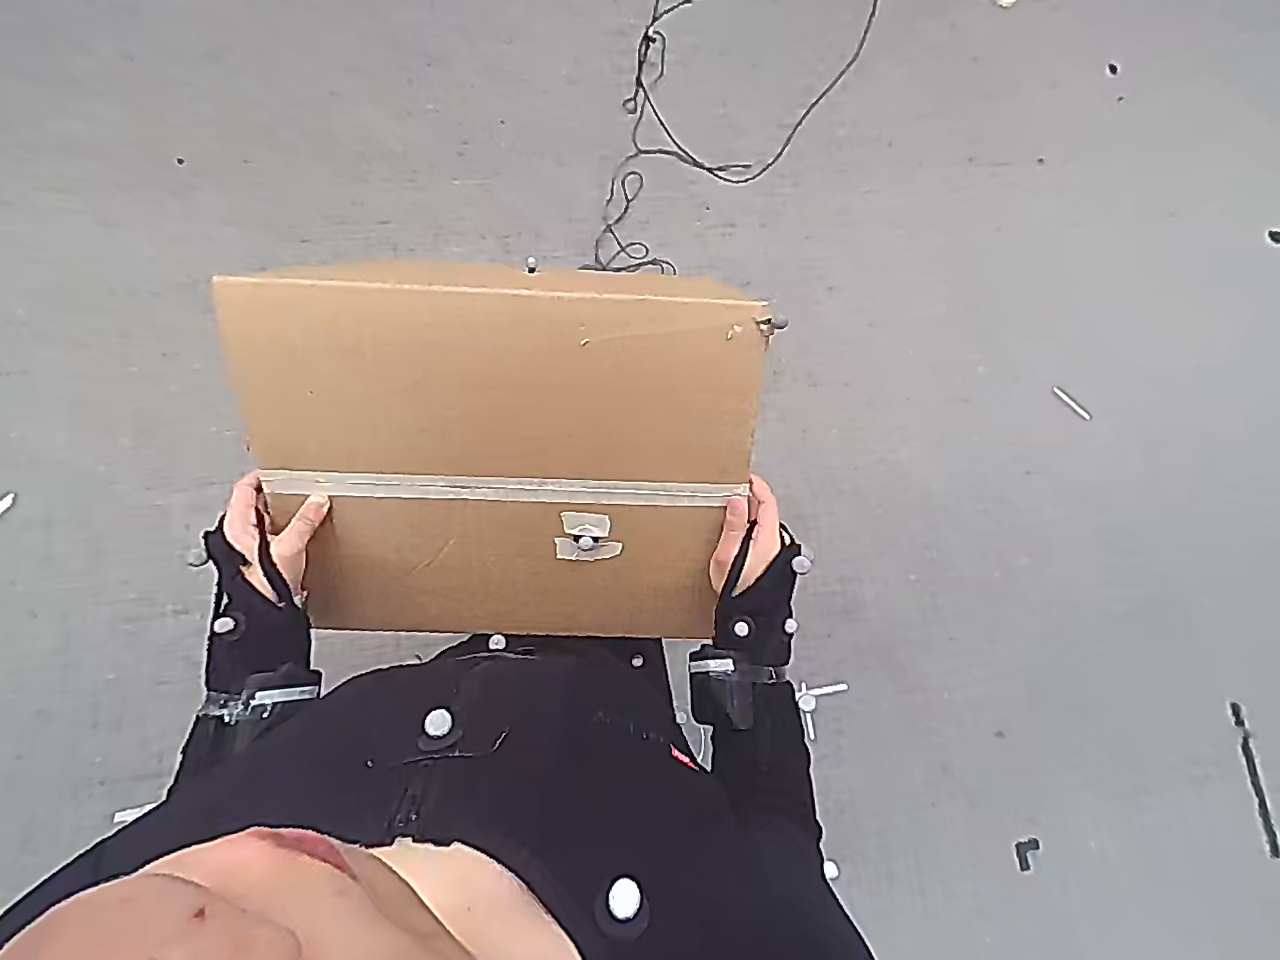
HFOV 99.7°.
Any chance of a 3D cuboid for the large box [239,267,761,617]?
[{"bbox_3d":[-0.115,-0.068,0.606,0.408,0.320,0.320,1,115,-3],"label":"large box"}]
